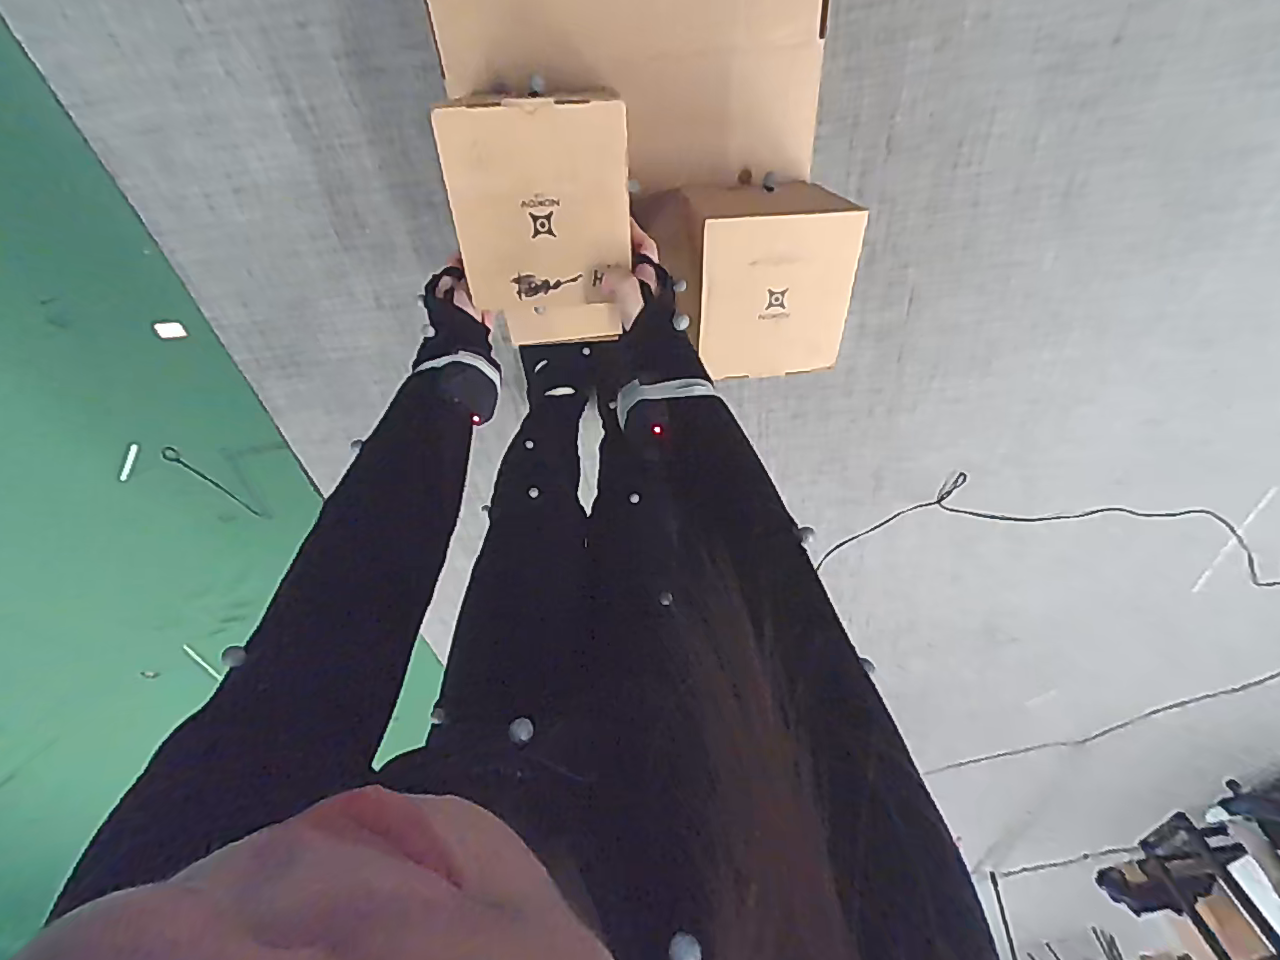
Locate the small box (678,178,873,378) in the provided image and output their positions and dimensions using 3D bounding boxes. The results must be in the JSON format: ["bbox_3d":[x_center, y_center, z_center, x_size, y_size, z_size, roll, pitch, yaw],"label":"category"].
[{"bbox_3d":[0.140,-0.239,0.633,0.168,0.176,0.179,-4,128,-4],"label":"small box"}]

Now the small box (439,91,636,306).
[{"bbox_3d":[-0.092,-0.297,0.564,0.168,0.176,0.179,-3,127,-1],"label":"small box"}]
